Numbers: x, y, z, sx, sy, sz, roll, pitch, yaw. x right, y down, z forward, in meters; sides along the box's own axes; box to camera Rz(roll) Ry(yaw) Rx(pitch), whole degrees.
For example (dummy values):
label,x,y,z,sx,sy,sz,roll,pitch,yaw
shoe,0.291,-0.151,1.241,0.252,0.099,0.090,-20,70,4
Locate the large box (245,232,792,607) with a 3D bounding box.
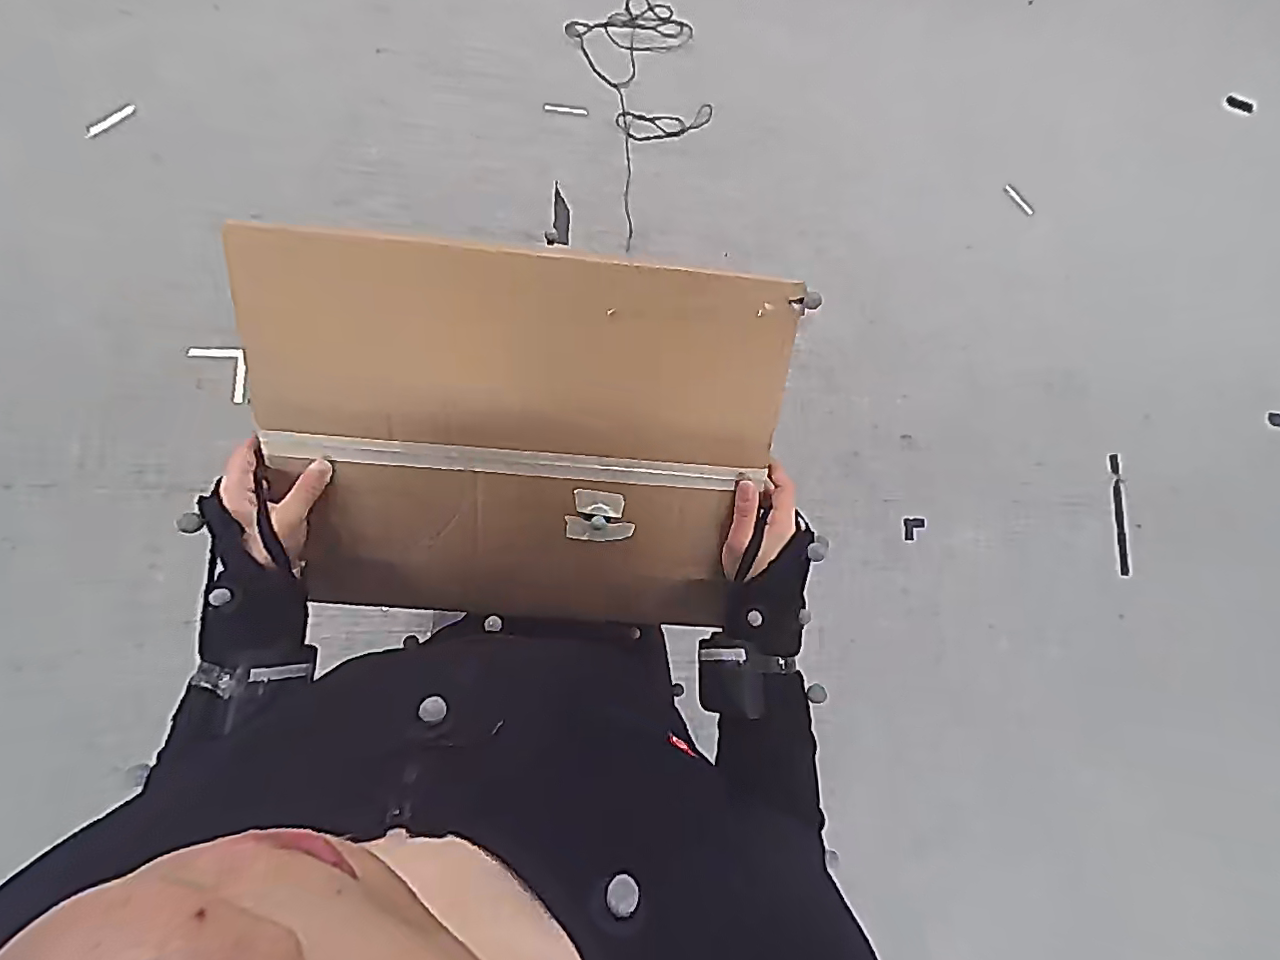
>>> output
label,x,y,z,sx,sy,sz,roll,pitch,yaw
large box,-0.102,-0.084,0.588,0.408,0.320,0.320,4,115,-5
